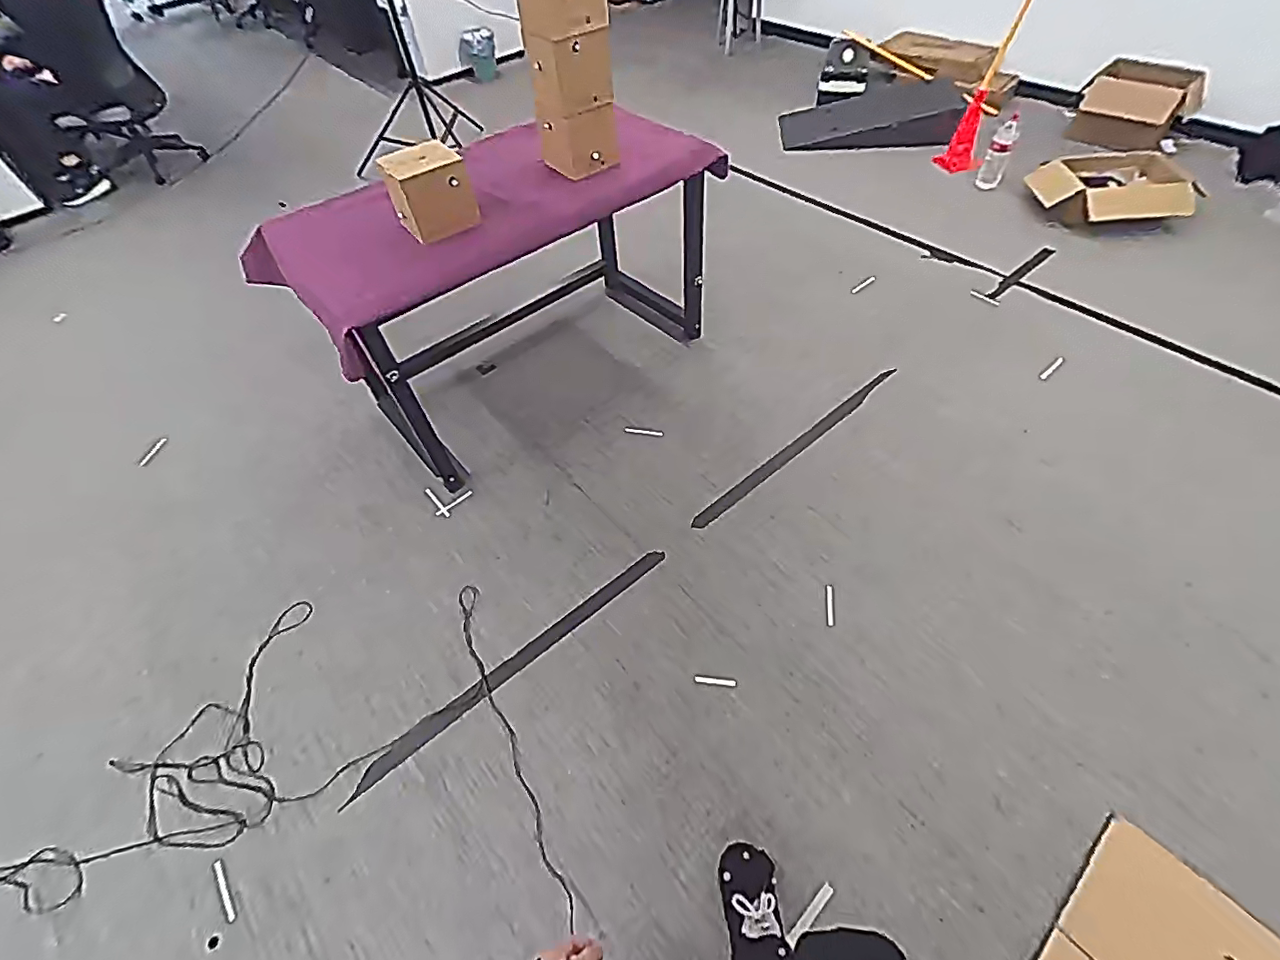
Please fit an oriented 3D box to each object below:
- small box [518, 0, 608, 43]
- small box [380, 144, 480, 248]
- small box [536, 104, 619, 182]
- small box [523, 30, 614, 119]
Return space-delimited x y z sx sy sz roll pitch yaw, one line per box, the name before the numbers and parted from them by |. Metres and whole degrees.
small box | -0.194 -1.197 1.322 0.168 0.176 0.179 -32 57 -17
small box | -0.543 -0.747 1.424 0.179 0.176 0.168 -33 57 -18
small box | -0.180 -1.009 1.590 0.168 0.176 0.179 -33 58 -18
small box | -0.188 -1.104 1.456 0.168 0.176 0.179 -32 56 -17
